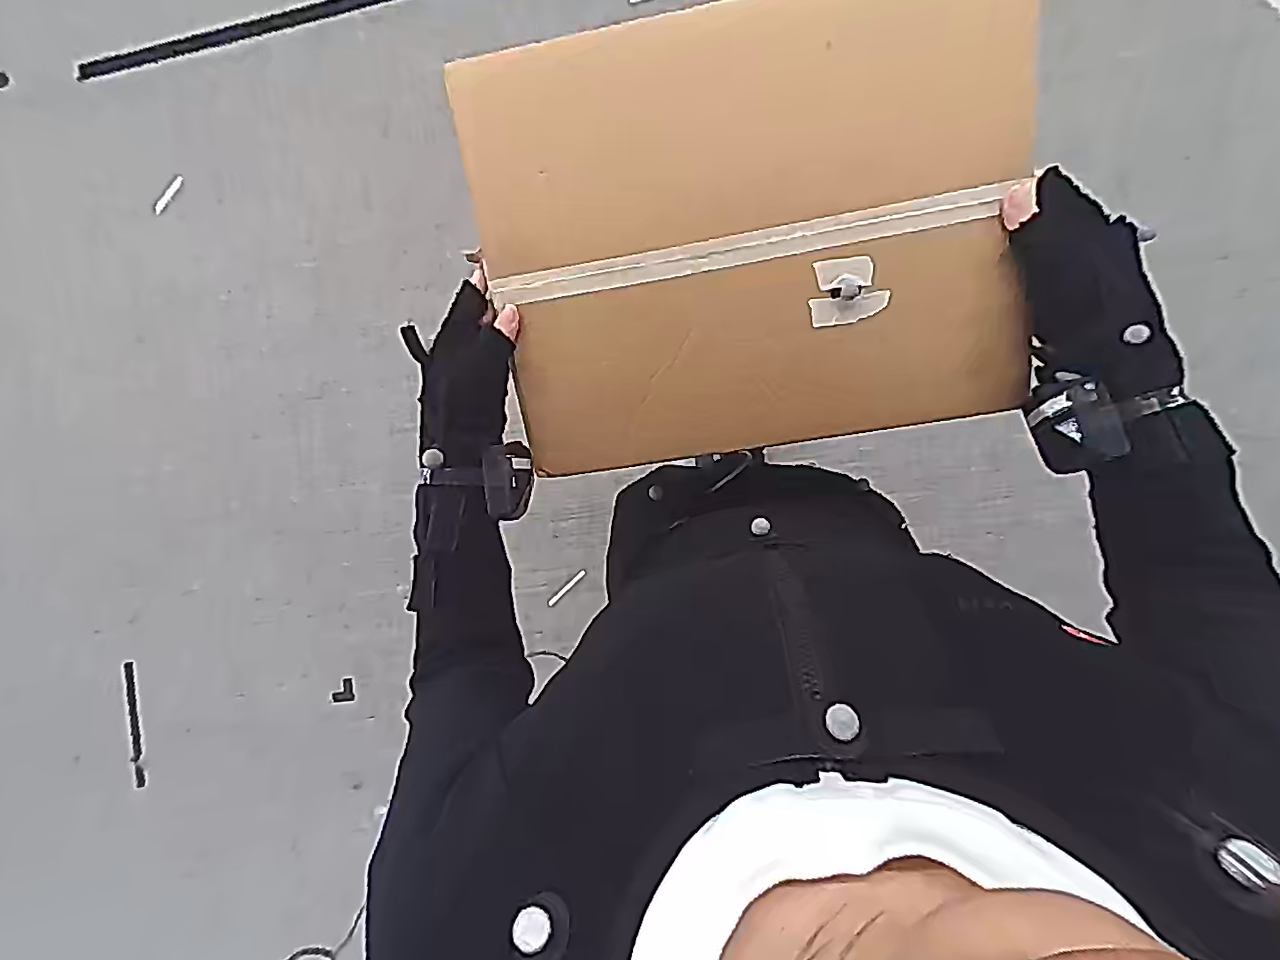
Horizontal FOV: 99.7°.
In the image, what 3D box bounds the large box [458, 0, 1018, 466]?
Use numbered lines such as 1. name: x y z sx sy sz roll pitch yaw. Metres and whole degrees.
1. large box: 0.089 -0.228 0.564 0.408 0.320 0.320 -9 106 5
